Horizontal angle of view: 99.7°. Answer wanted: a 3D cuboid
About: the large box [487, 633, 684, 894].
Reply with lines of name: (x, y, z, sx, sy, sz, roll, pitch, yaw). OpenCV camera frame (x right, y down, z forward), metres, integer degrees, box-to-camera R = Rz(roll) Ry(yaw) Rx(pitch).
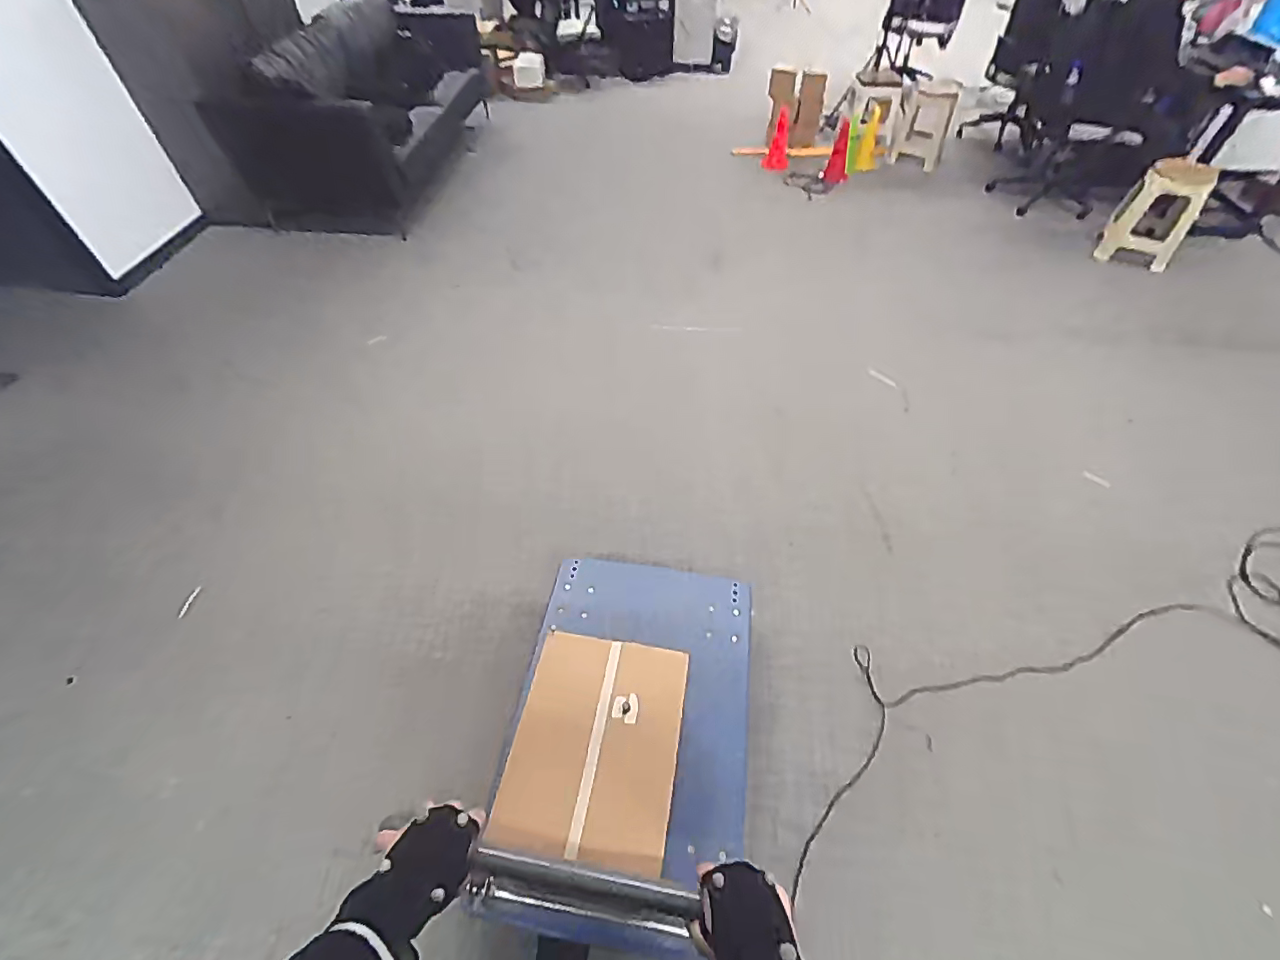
large box: (-0.087, 0.599, 1.155, 0.320, 0.320, 0.408, 8, 49, 6)
